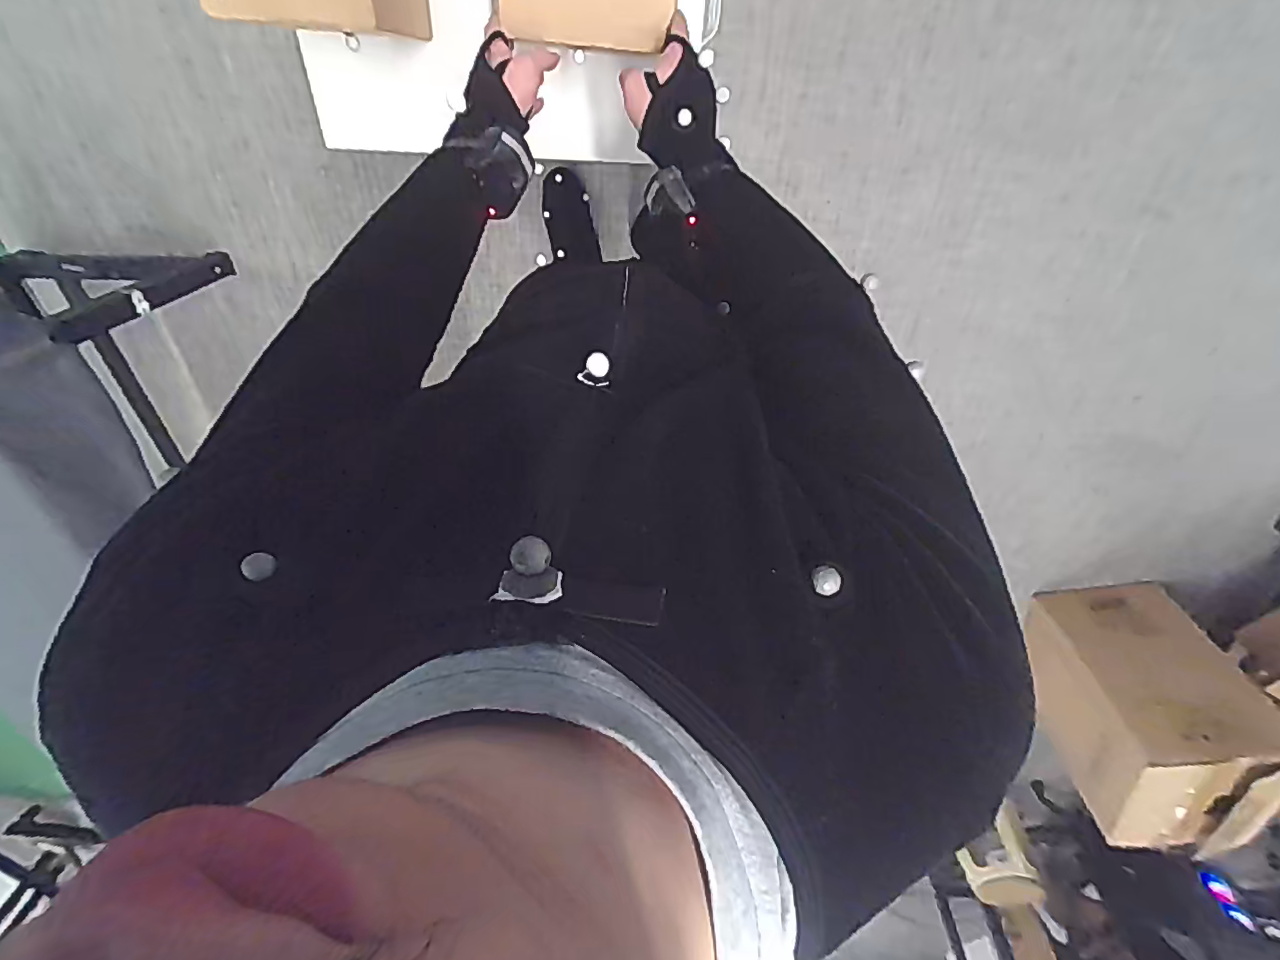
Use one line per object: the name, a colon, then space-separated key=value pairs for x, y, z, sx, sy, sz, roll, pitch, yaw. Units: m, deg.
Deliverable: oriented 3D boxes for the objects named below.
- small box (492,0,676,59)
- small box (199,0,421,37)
small box: x=-0.047 y=-0.544 z=0.553 sx=0.179 sy=0.176 sz=0.168 roll=5 pitch=127 yaw=-1
small box: x=-0.341 y=-0.568 z=0.554 sx=0.179 sy=0.176 sz=0.168 roll=3 pitch=127 yaw=-1
